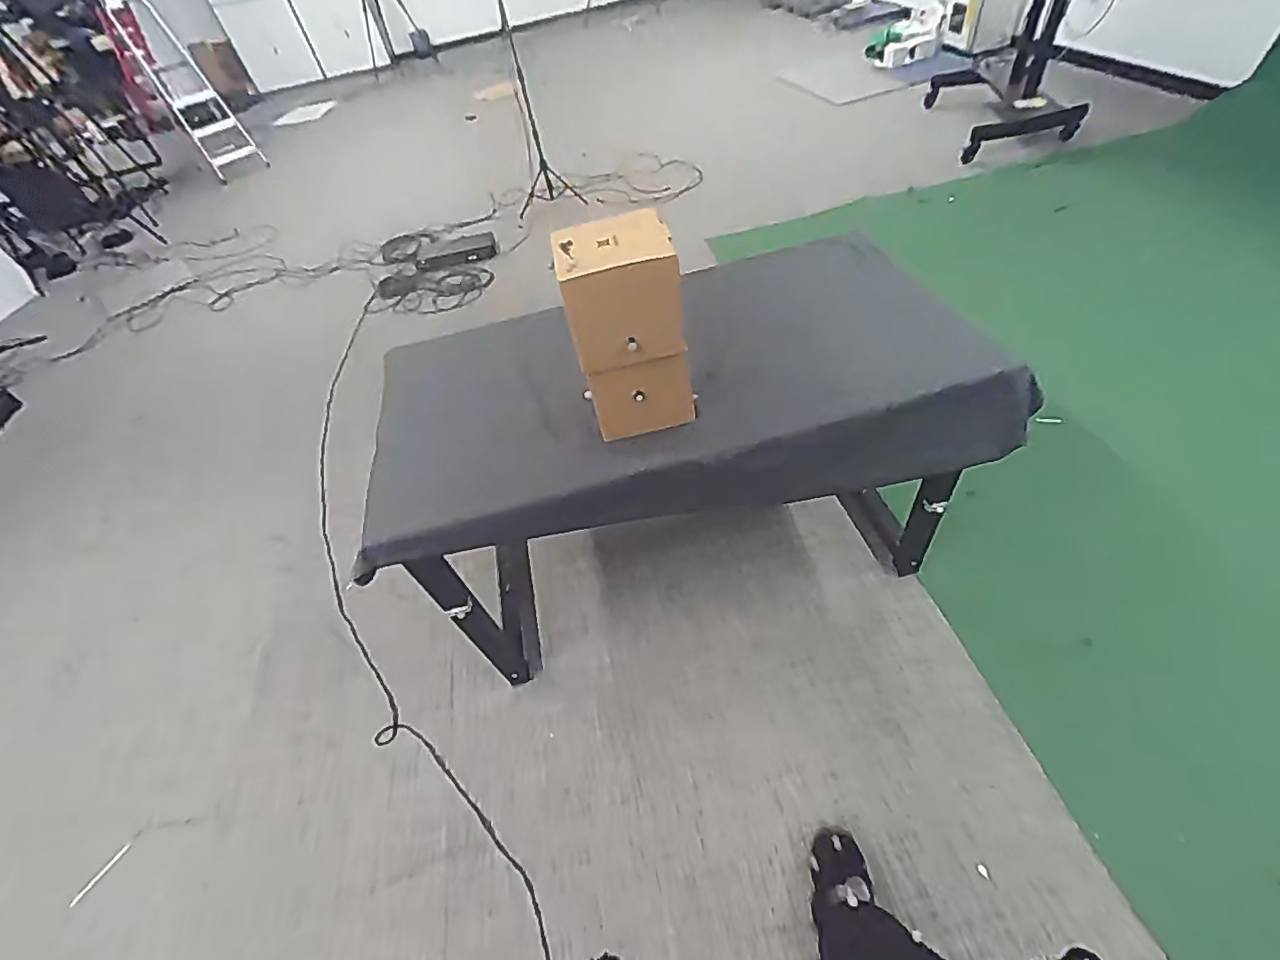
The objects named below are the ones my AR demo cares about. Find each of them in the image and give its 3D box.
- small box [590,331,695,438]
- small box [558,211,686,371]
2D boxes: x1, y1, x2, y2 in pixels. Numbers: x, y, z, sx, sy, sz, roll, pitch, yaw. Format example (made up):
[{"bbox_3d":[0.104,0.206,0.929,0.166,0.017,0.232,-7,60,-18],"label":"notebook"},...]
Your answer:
[{"bbox_3d":[0.002,-0.203,0.998,0.179,0.176,0.168,-14,48,0],"label":"small box"},{"bbox_3d":[-0.025,-0.301,0.871,0.179,0.176,0.168,-12,48,-1],"label":"small box"}]
